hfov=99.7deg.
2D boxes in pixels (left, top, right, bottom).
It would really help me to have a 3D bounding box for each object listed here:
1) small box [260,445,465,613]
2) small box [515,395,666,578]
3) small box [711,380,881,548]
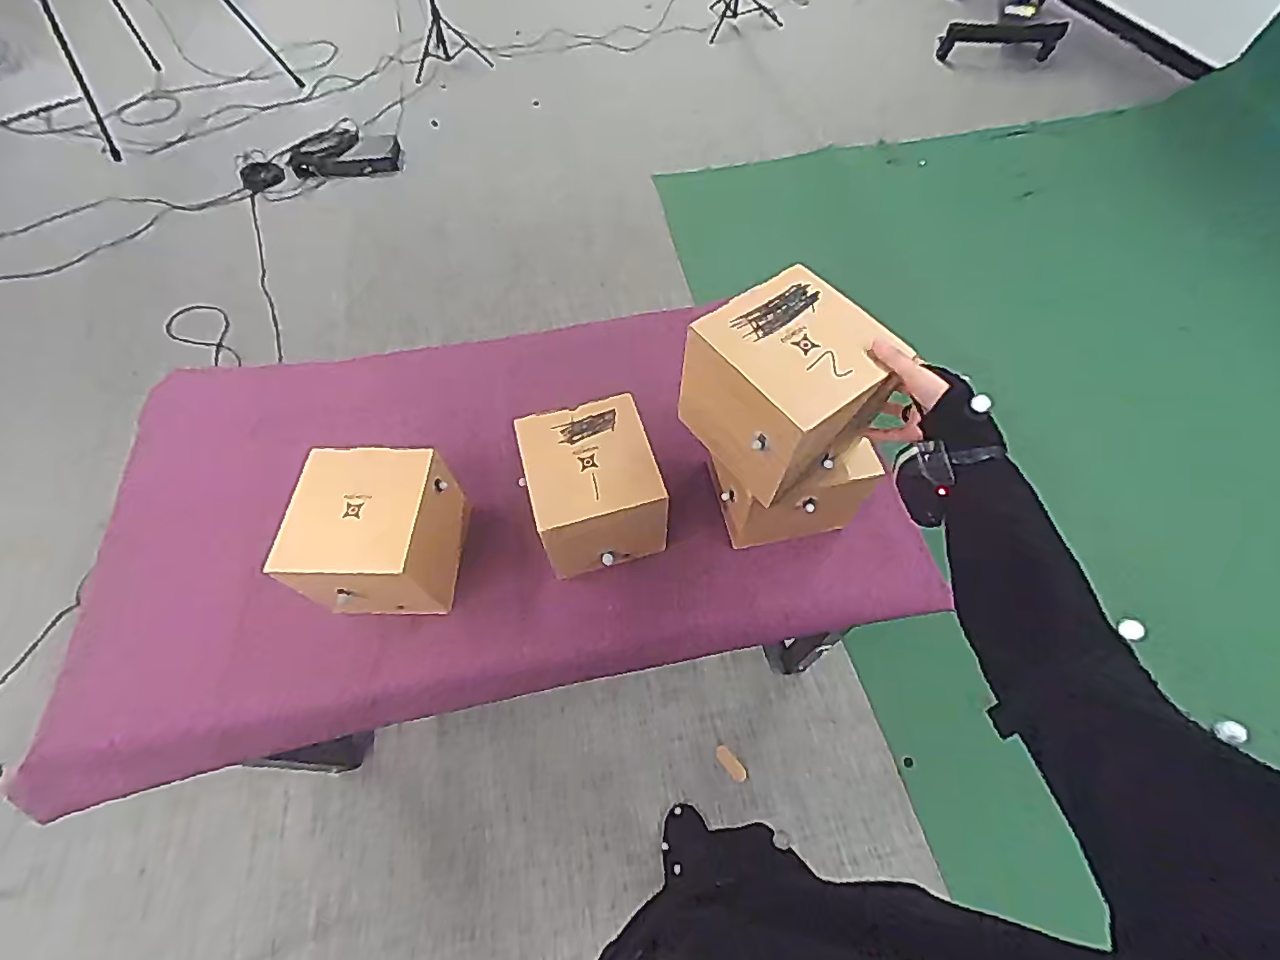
[{"bbox_3d":[-0.351,0.071,0.726,0.168,0.176,0.179,1,58,1],"label":"small box"},{"bbox_3d":[-0.068,0.013,0.757,0.168,0.176,0.179,-14,60,-7],"label":"small box"},{"bbox_3d":[0.202,-0.016,0.769,0.179,0.176,0.168,-9,60,-5],"label":"small box"}]
